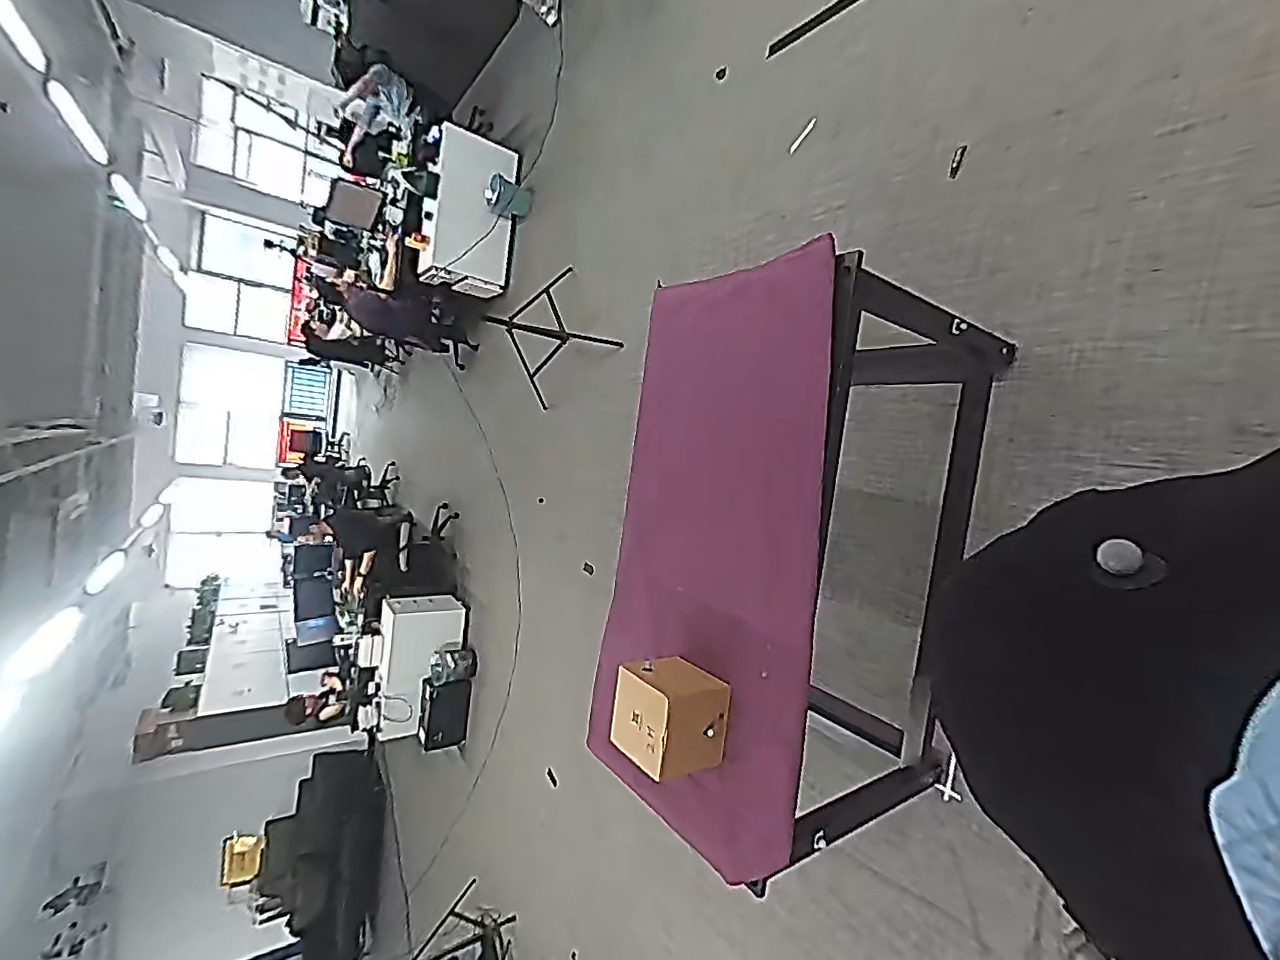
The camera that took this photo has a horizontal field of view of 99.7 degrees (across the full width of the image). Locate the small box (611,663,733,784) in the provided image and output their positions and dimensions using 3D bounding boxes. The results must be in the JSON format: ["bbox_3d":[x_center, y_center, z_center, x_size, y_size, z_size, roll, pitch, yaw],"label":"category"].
[{"bbox_3d":[0.065,0.490,1.122,0.179,0.176,0.168,9,93,54],"label":"small box"}]
